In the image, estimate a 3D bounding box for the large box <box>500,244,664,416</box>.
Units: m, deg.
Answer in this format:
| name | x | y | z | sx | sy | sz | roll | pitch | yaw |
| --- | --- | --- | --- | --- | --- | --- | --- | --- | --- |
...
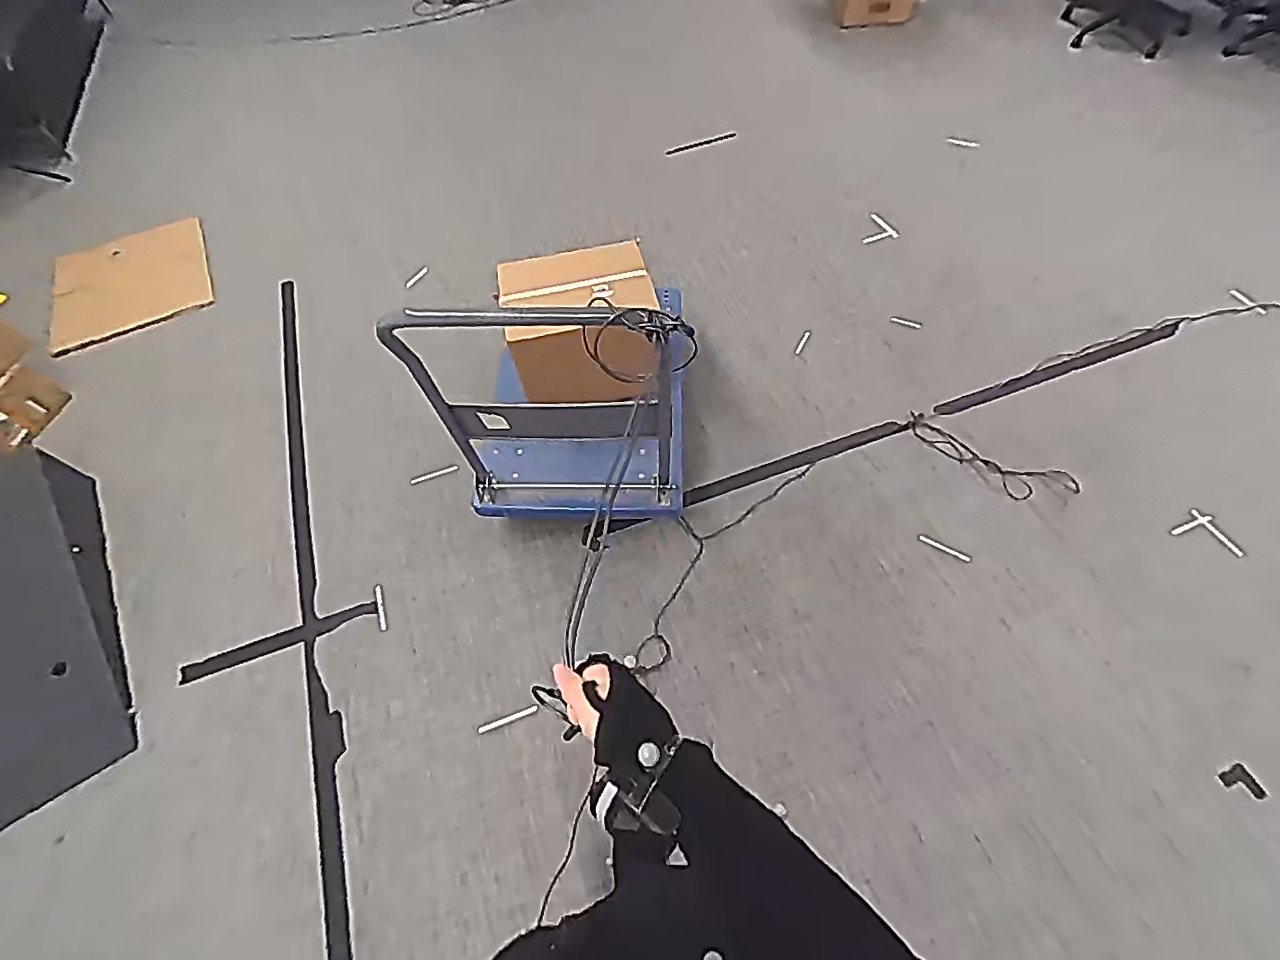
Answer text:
| name | x | y | z | sx | sy | sz | roll | pitch | yaw |
| --- | --- | --- | --- | --- | --- | --- | --- | --- | --- |
| large box | -0.159 | -0.428 | 1.568 | 0.408 | 0.320 | 0.320 | -12 | 60 | -4 |
